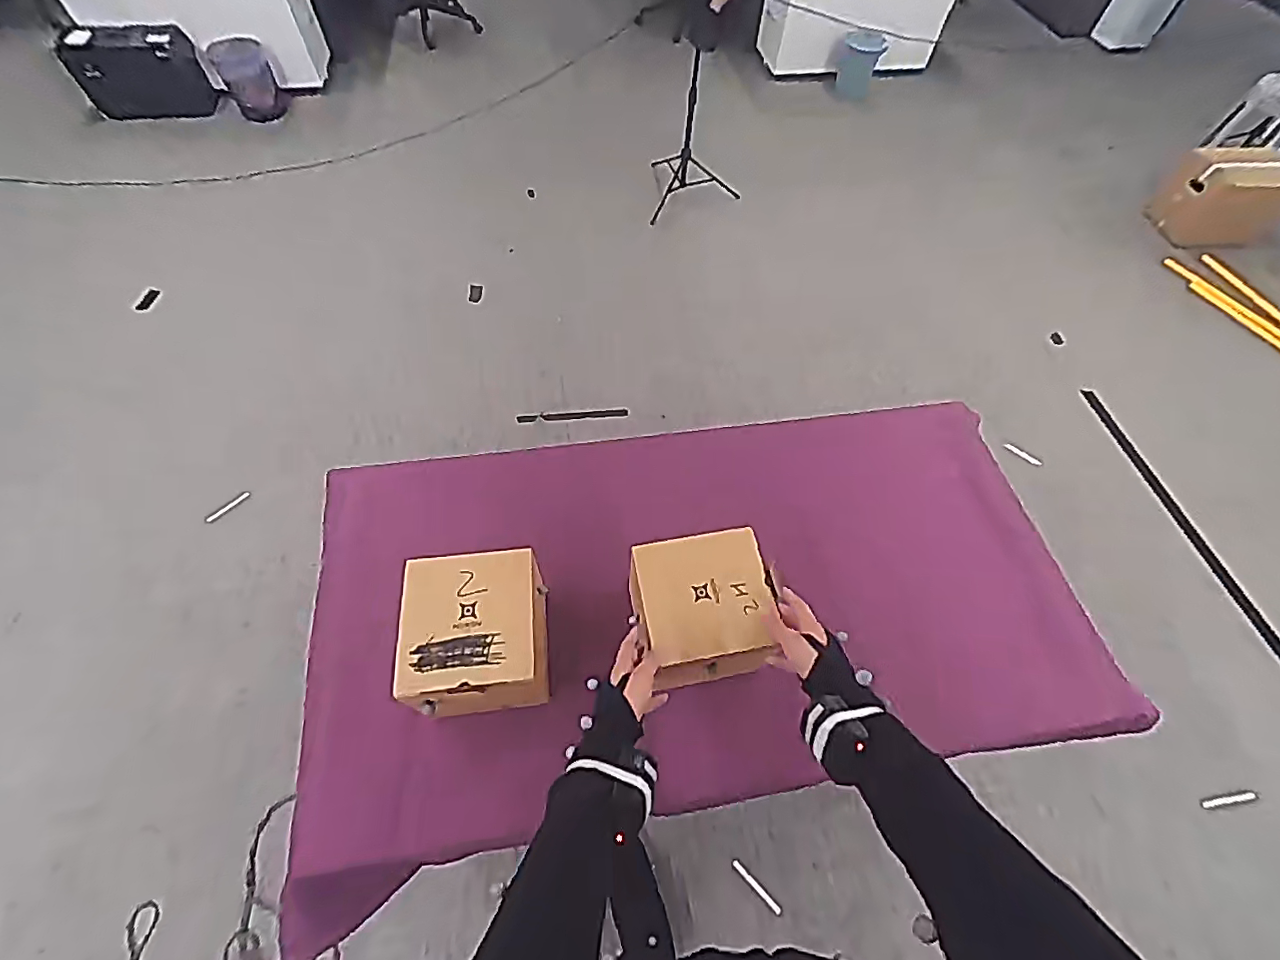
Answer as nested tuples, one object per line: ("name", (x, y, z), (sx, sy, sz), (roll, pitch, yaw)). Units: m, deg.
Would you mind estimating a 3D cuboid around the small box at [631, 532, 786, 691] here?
("small box", (0.085, 0.195, 0.783), (0.179, 0.176, 0.168), (-8, 60, -8))
